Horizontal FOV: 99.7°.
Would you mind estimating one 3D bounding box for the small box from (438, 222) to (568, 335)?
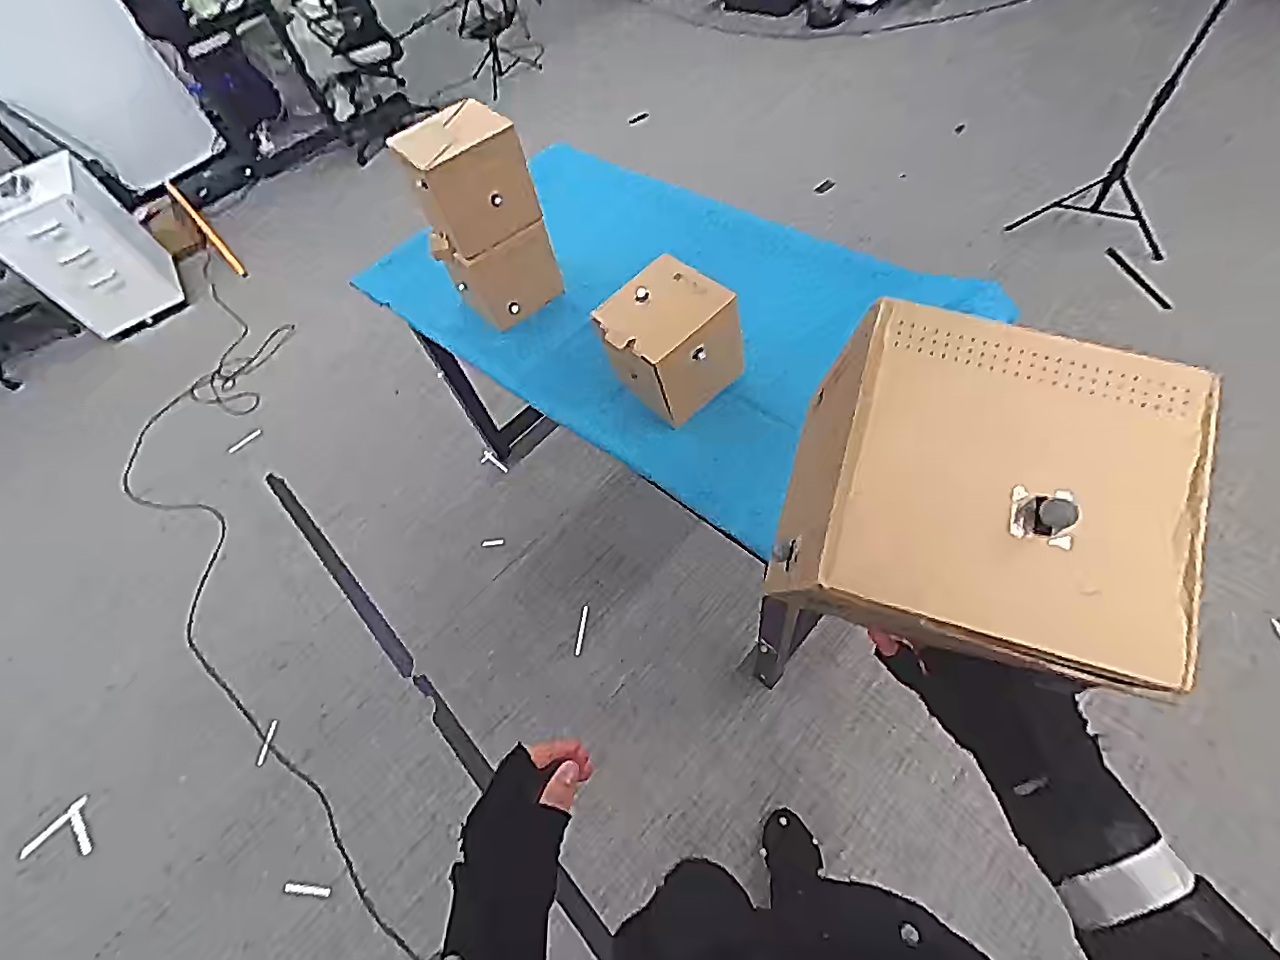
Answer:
[{"bbox_3d":[-0.282,-0.442,1.117,0.179,0.176,0.168,-40,60,-15],"label":"small box"}]

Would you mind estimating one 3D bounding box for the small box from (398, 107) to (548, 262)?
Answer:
[{"bbox_3d":[-0.304,-0.542,0.987,0.179,0.176,0.168,-37,59,-12],"label":"small box"}]

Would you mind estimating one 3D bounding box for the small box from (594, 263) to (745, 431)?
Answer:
[{"bbox_3d":[0.056,-0.223,0.899,0.176,0.179,0.168,-41,60,-7],"label":"small box"}]

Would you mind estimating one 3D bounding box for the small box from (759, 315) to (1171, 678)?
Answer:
[{"bbox_3d":[0.195,0.013,0.360,0.179,0.168,0.176,15,77,6],"label":"small box"}]
